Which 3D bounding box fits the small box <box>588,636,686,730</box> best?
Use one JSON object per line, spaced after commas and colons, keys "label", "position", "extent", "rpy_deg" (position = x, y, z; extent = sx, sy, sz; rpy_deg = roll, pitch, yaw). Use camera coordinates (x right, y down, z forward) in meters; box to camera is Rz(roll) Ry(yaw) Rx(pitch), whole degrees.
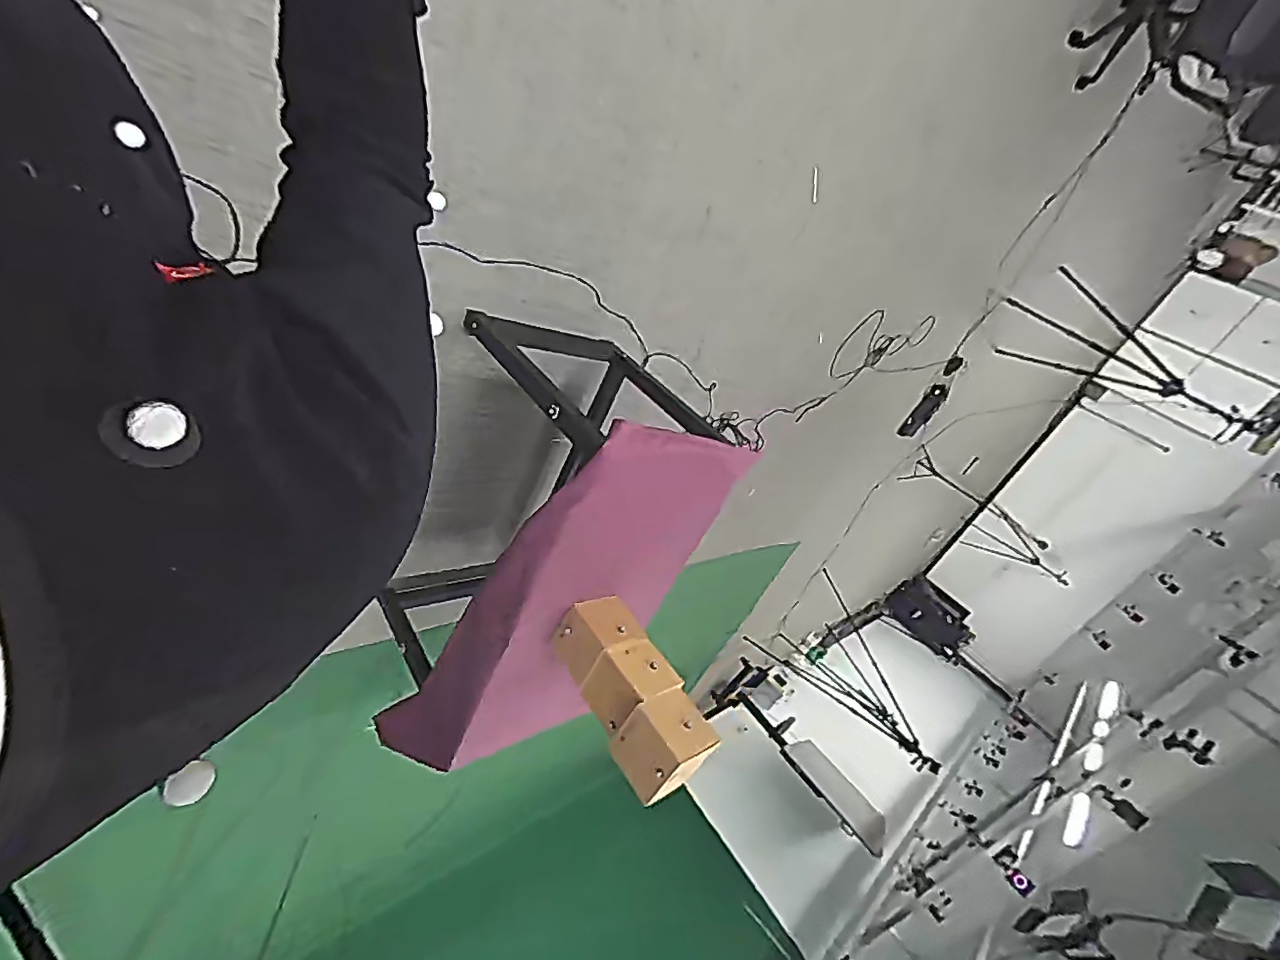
{"label": "small box", "position": [-0.014, 0.543, 1.458], "extent": [0.168, 0.176, 0.179], "rpy_deg": [1, 126, -48]}

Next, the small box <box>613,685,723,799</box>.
{"label": "small box", "position": [0.067, 0.642, 1.353], "extent": [0.179, 0.176, 0.168], "rpy_deg": [3, 124, -51]}

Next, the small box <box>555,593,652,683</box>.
{"label": "small box", "position": [-0.107, 0.440, 1.540], "extent": [0.179, 0.176, 0.168], "rpy_deg": [4, 124, -49]}
